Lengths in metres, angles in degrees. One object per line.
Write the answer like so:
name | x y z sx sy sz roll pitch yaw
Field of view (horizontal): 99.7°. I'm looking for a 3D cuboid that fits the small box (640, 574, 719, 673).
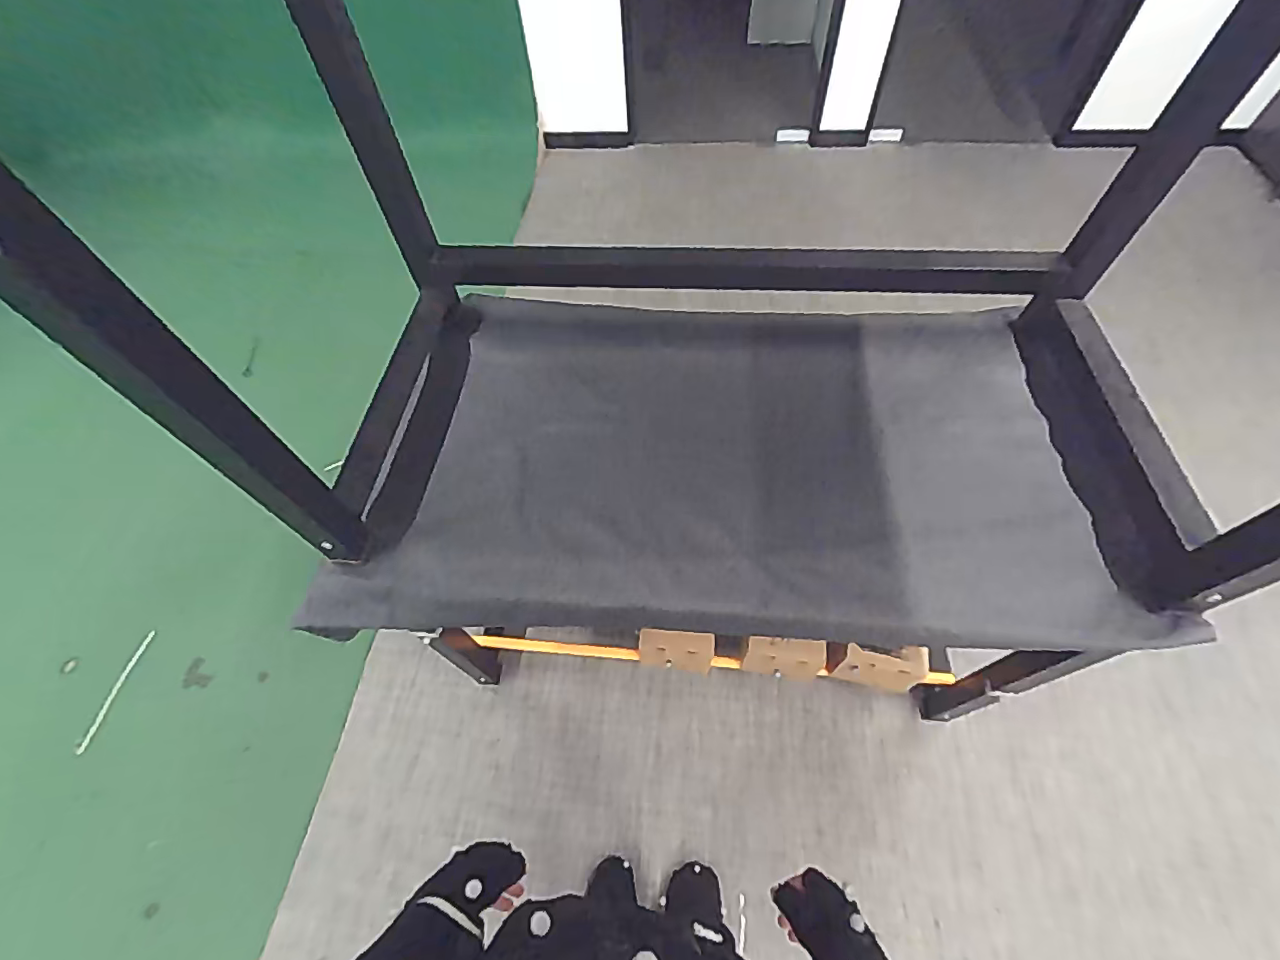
small box | 0.093 0.343 1.283 0.168 0.176 0.179 5 59 6
